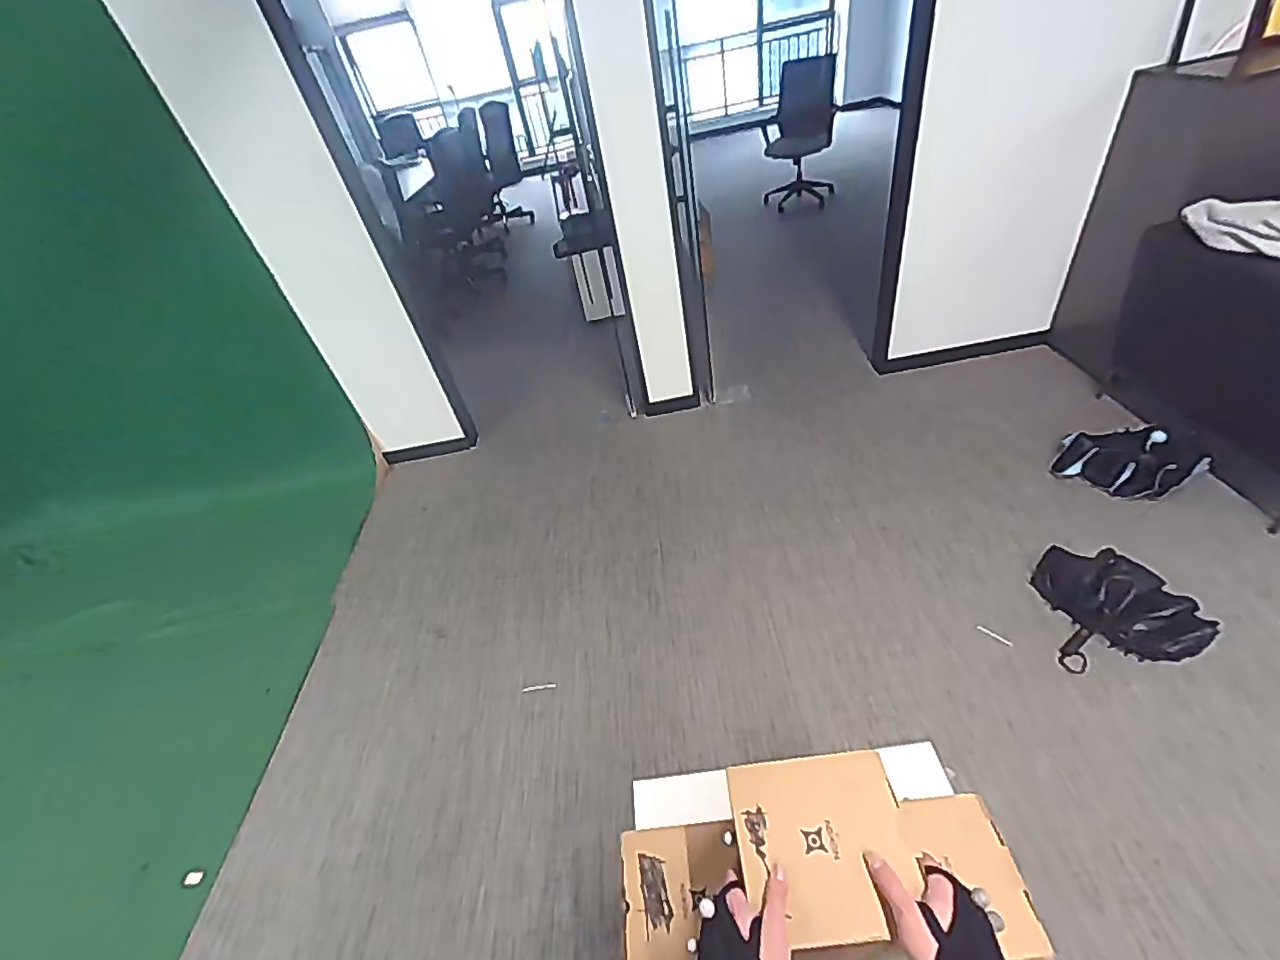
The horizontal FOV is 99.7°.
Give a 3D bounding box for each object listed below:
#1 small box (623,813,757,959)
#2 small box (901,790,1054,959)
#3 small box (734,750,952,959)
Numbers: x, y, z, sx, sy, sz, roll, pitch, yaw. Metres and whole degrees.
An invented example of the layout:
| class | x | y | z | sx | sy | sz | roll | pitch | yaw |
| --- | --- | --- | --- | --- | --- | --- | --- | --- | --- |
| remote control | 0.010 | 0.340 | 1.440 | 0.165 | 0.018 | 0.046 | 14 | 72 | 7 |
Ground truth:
| class | x | y | z | sx | sy | sz | roll | pitch | yaw |
| --- | --- | --- | --- | --- | --- | --- | --- | --- | --- |
| small box | 0.077 | 0.567 | 0.716 | 0.179 | 0.176 | 0.168 | -7 | 41 | 1 |
| small box | 0.373 | 0.526 | 0.700 | 0.179 | 0.176 | 0.168 | -9 | 41 | 5 |
| small box | 0.204 | 0.425 | 0.604 | 0.179 | 0.176 | 0.168 | -7 | 41 | 3 |
